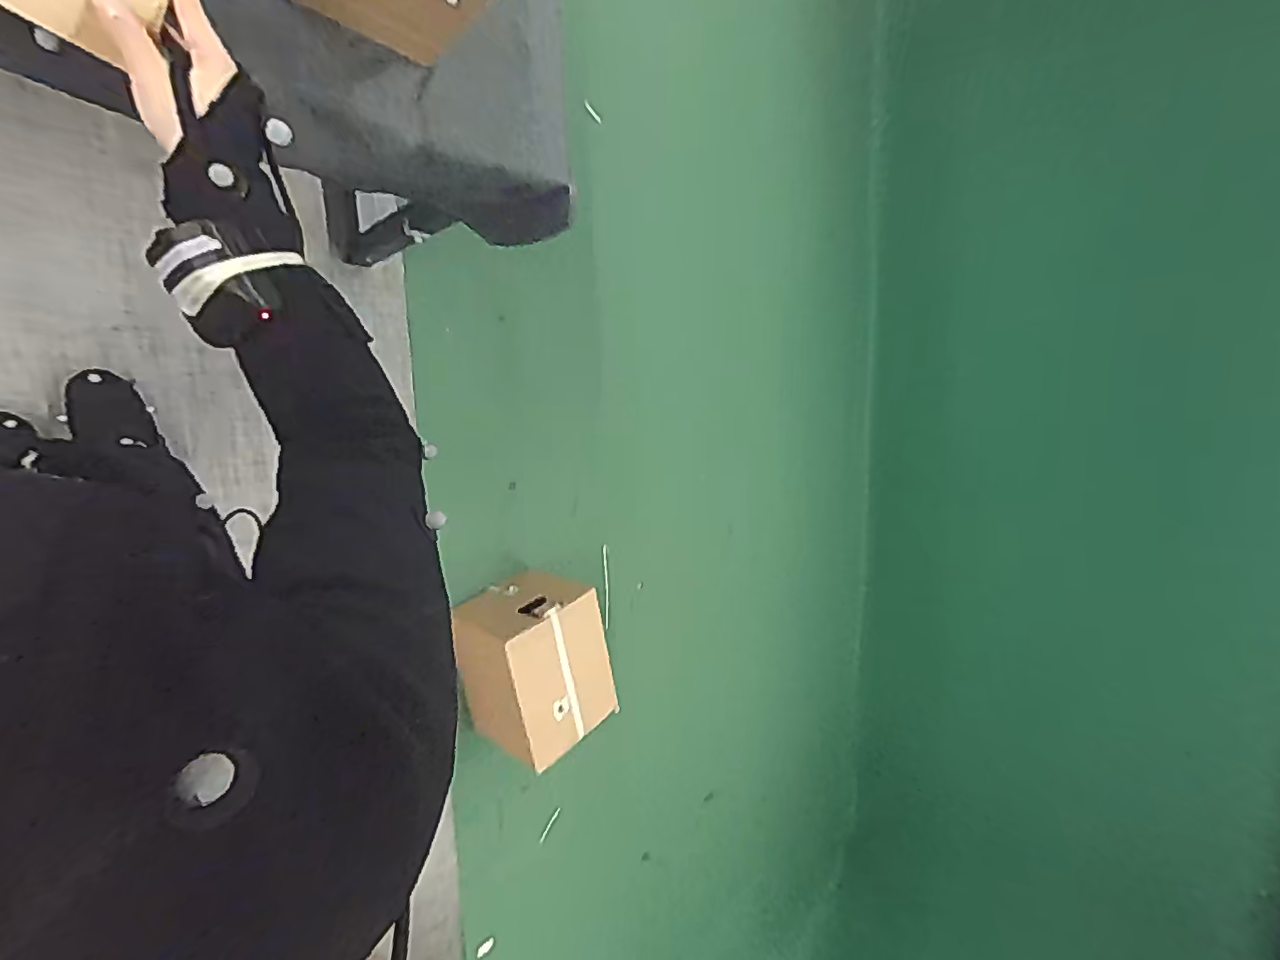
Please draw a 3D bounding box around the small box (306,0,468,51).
[{"bbox_3d":[-0.262,-0.575,0.529,0.179,0.176,0.168,-8,100,-47],"label":"small box"}]
